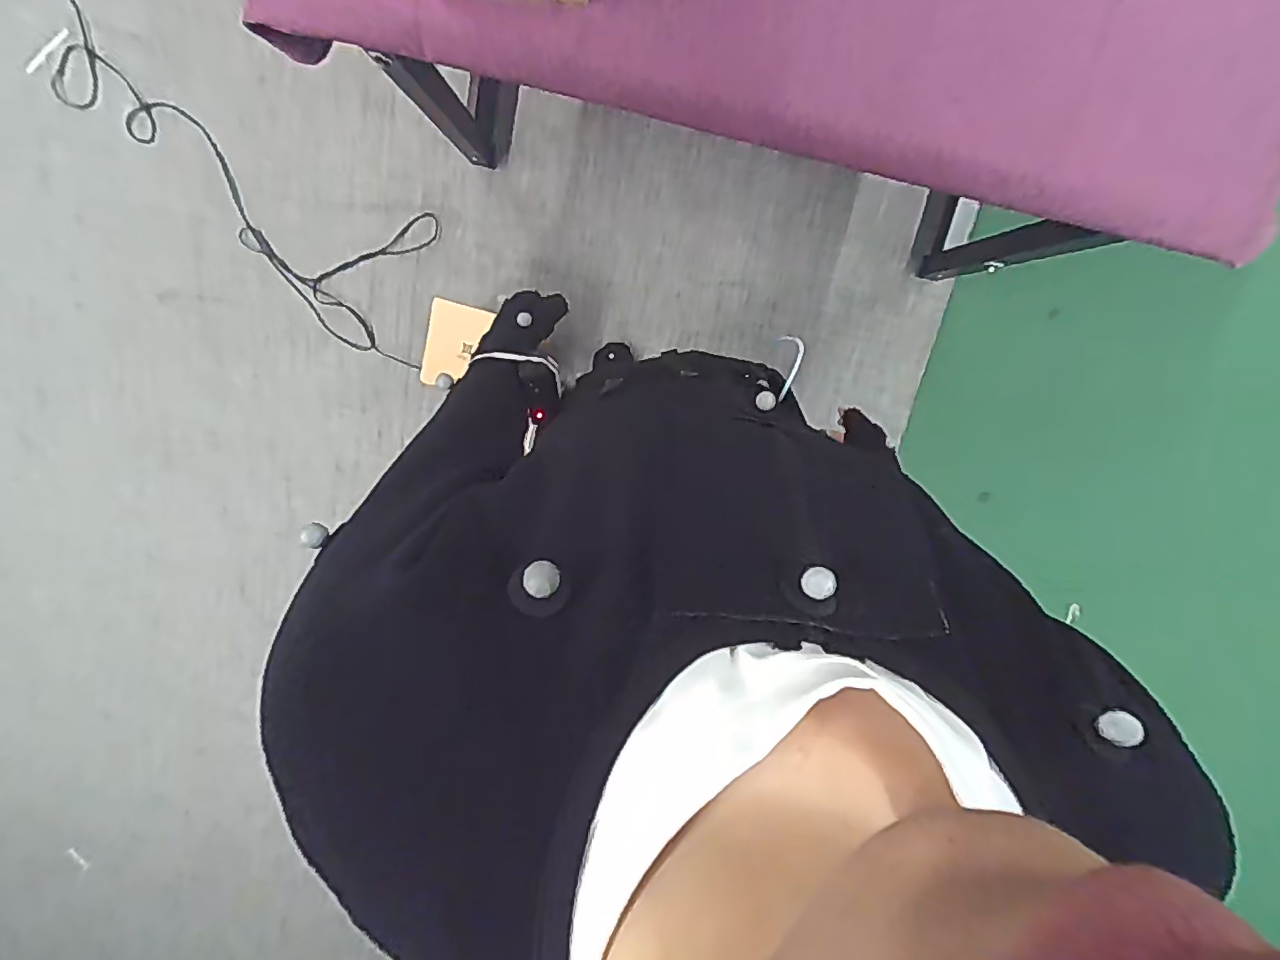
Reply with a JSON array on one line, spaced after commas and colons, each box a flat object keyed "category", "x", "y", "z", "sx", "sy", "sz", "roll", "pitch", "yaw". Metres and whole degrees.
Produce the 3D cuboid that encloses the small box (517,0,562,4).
[{"category": "small box", "x": -0.139, "y": -0.597, "z": 0.507, "sx": 0.179, "sy": 0.176, "sz": 0.168, "roll": 6, "pitch": 103, "yaw": -2}]
